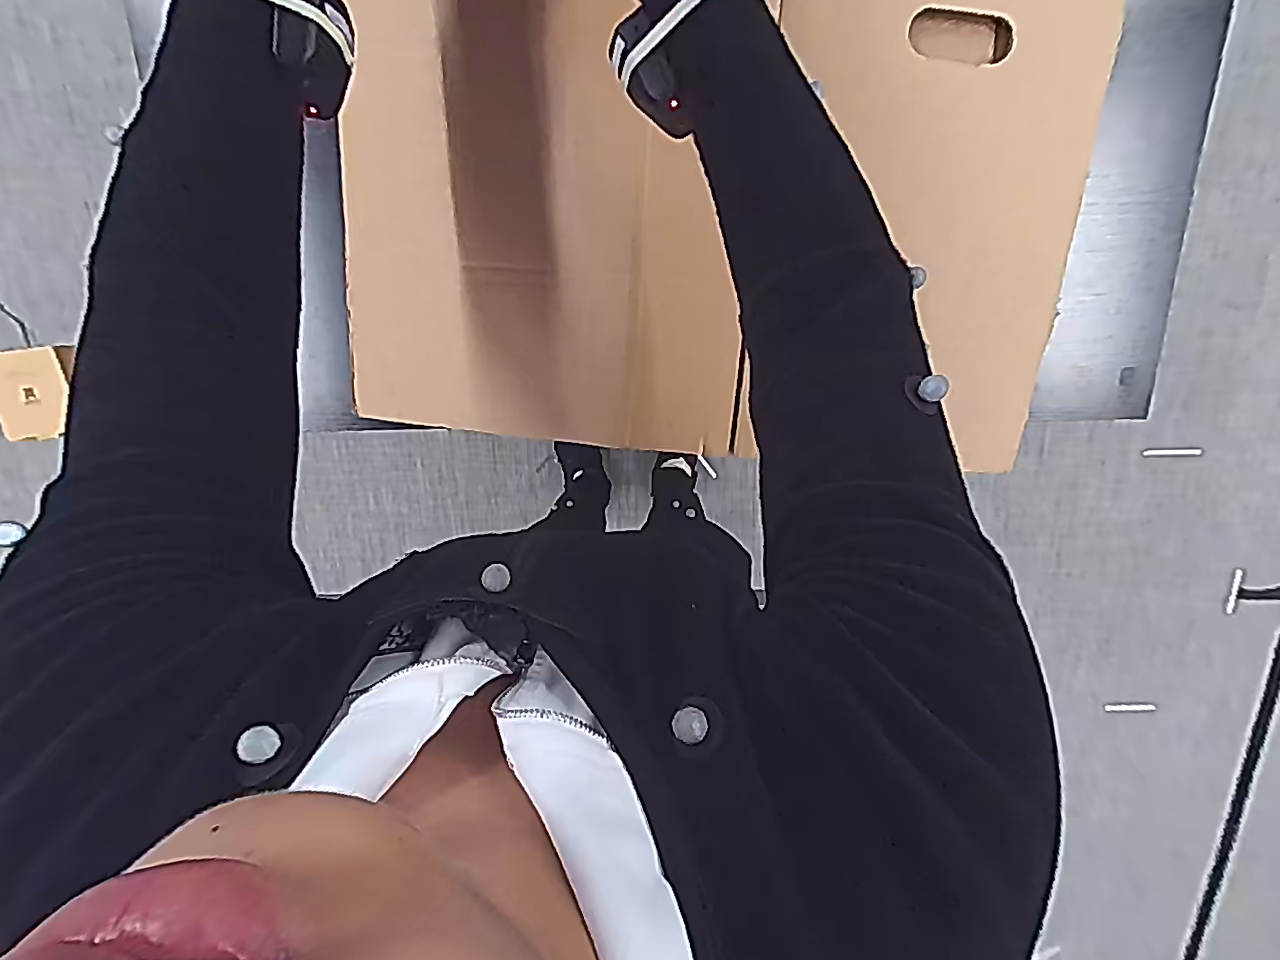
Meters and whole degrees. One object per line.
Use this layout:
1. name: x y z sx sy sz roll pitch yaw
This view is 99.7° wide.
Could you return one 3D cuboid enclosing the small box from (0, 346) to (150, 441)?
1. small box: -1.224 -0.191 1.166 0.168 0.176 0.179 -8 103 1
